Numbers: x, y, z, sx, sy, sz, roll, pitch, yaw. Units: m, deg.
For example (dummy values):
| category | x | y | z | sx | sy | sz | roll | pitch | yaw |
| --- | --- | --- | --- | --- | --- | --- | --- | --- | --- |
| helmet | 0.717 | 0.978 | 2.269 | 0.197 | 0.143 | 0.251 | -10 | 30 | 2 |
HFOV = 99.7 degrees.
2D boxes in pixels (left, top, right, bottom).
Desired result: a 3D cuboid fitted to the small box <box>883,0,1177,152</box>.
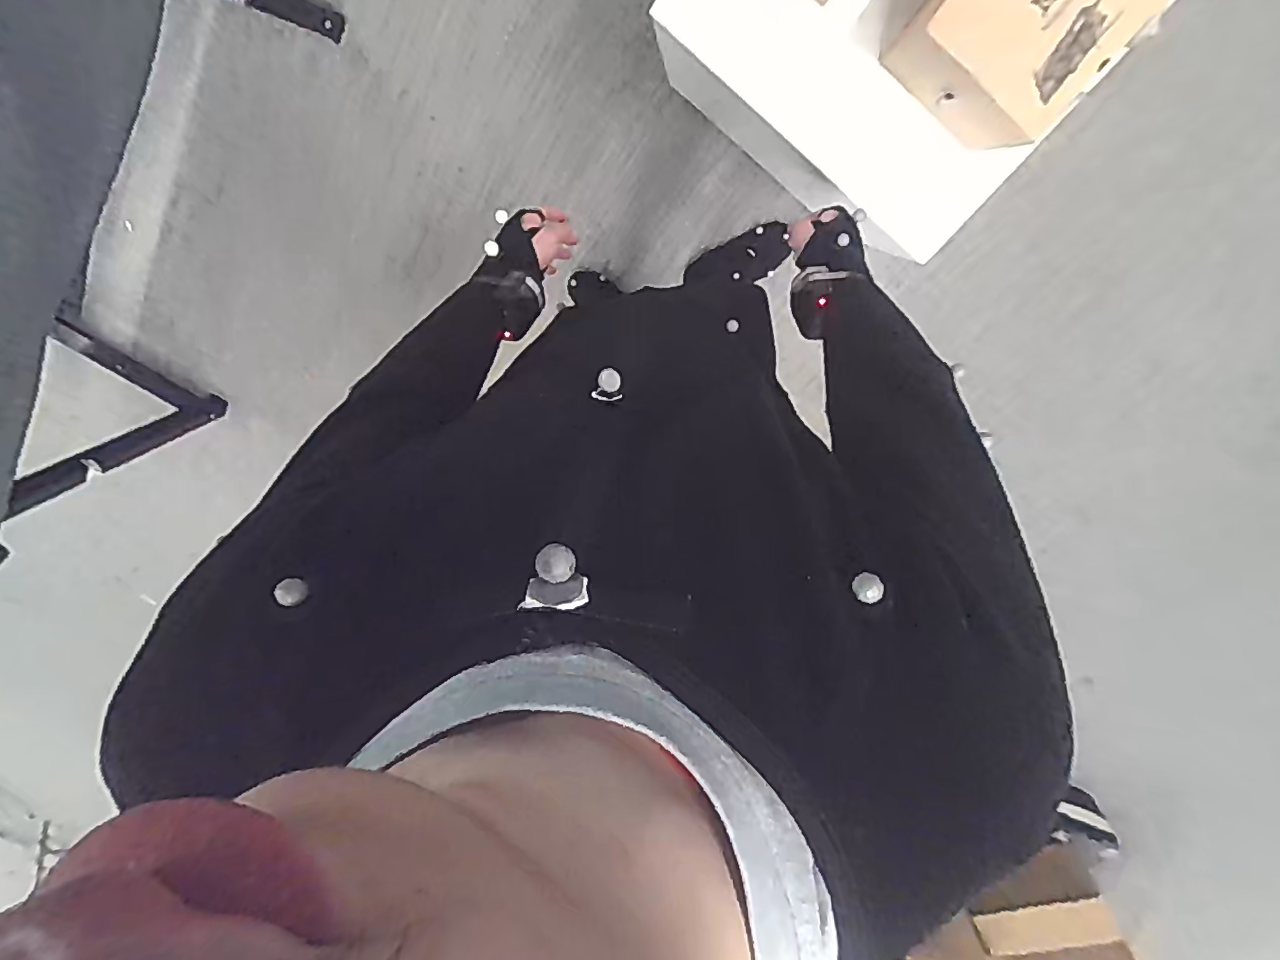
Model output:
| category | x | y | z | sx | sy | sz | roll | pitch | yaw |
| --- | --- | --- | --- | --- | --- | --- | --- | --- | --- |
| small box | 0.413 | -0.499 | 0.605 | 0.179 | 0.176 | 0.168 | 35 | 114 | -12 |
